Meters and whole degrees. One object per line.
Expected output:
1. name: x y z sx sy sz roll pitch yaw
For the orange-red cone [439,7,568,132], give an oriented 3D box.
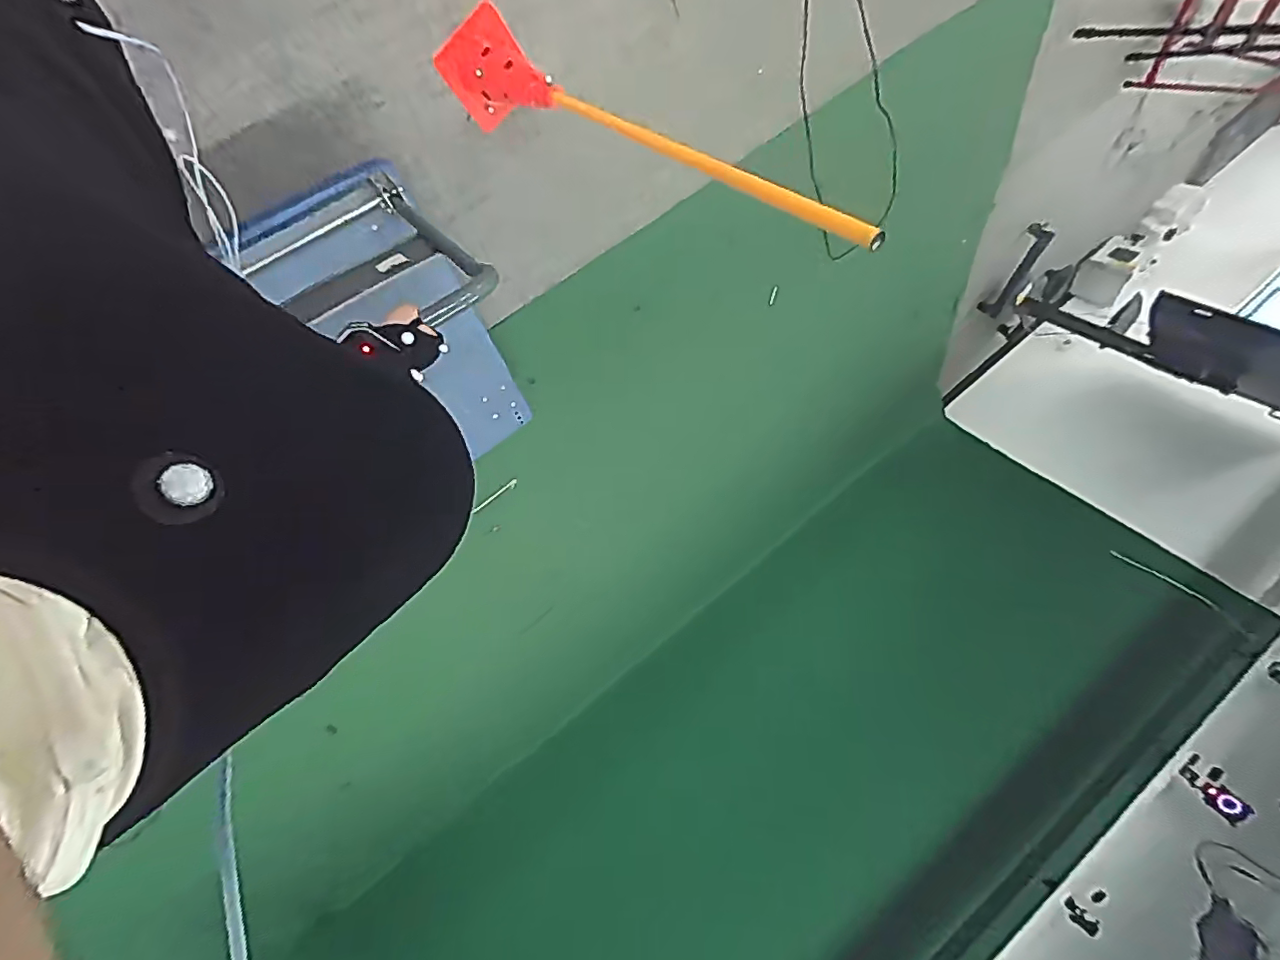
1. orange-red cone: -0.270 -0.906 1.238 0.199 0.360 0.198 -47 147 2
